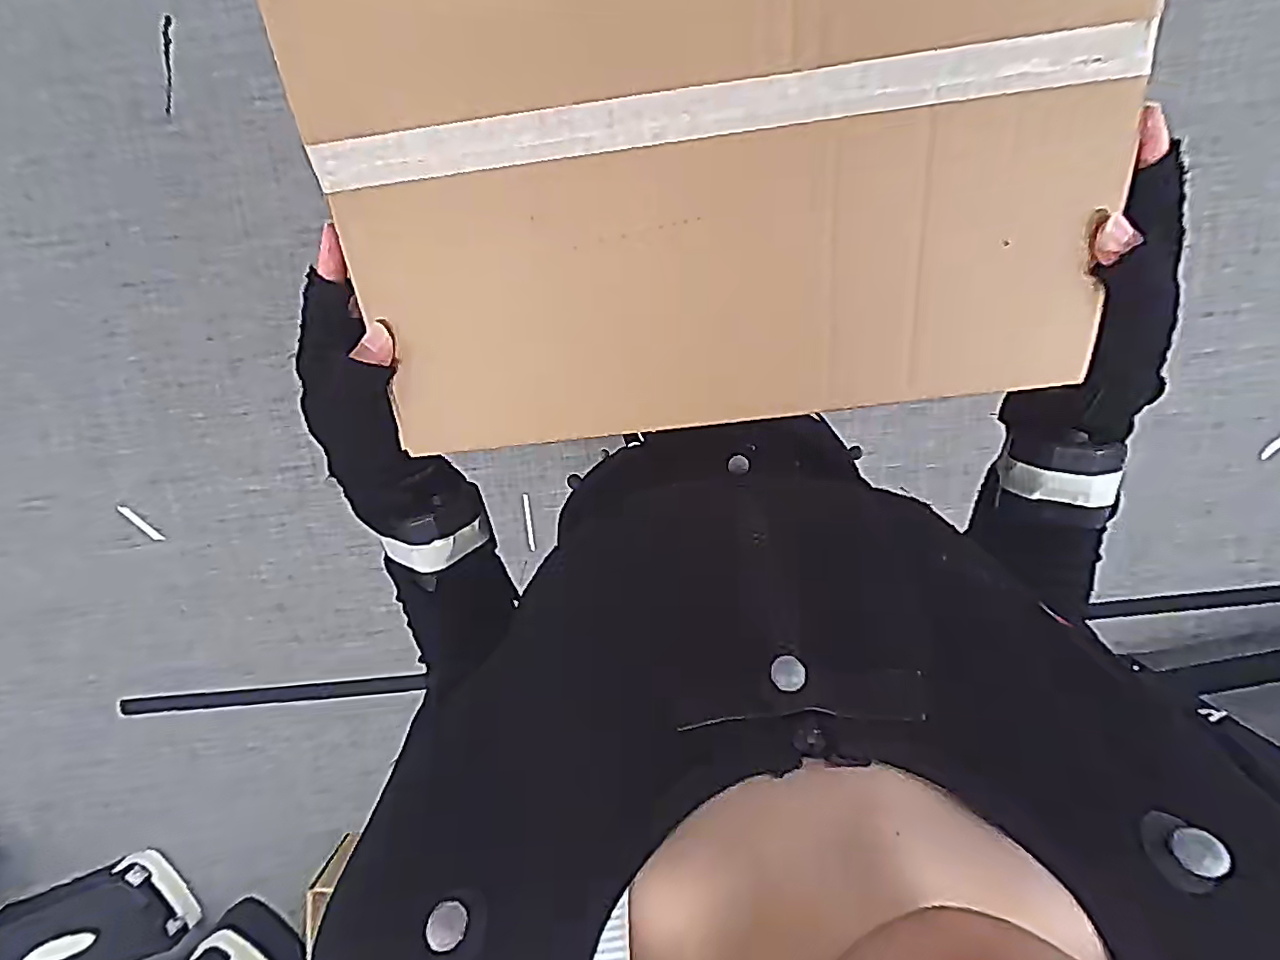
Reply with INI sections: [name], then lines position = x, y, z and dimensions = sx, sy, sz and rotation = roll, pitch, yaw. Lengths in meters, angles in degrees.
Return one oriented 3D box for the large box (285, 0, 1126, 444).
[large box]
position = 0.035, -0.242, 0.414
dimensions = 0.408, 0.320, 0.320
rotation = -6, 114, 3
